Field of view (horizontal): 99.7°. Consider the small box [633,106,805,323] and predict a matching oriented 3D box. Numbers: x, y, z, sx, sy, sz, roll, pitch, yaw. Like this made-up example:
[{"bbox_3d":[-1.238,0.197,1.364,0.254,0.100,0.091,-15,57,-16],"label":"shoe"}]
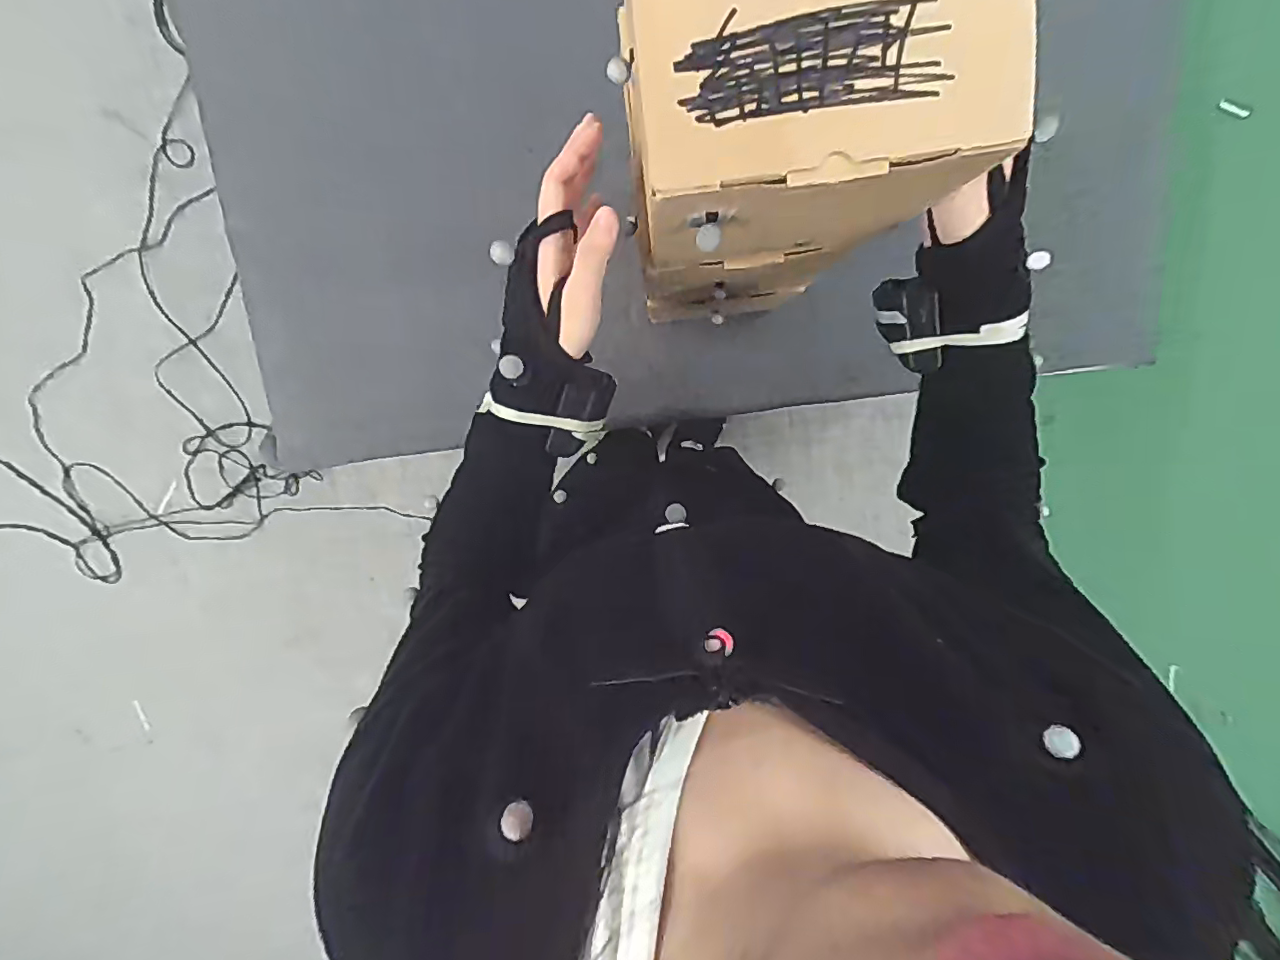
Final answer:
[{"bbox_3d":[0.082,-0.286,0.620,0.168,0.176,0.179,-6,101,3],"label":"small box"}]
